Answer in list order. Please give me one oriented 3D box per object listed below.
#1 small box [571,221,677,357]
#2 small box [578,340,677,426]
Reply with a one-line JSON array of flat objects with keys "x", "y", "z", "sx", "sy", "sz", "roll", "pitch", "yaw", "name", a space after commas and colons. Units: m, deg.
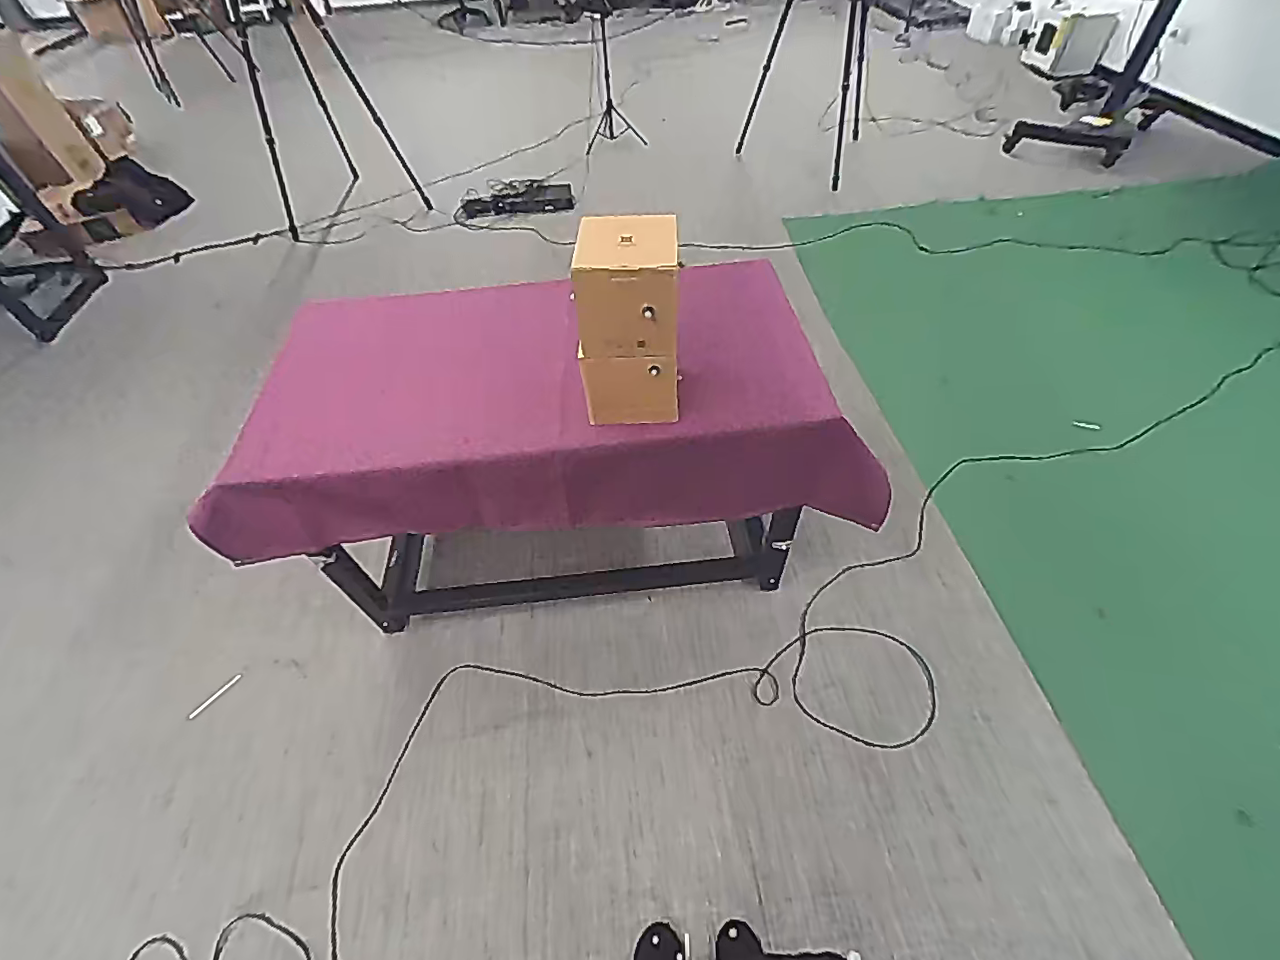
[{"x": -0.019, "y": -0.329, "z": 0.945, "sx": 0.168, "sy": 0.176, "sz": 0.179, "roll": 1, "pitch": 49, "yaw": 3, "name": "small box"}, {"x": -0.018, "y": -0.219, "z": 1.066, "sx": 0.179, "sy": 0.176, "sz": 0.168, "roll": -1, "pitch": 49, "yaw": 3, "name": "small box"}]
